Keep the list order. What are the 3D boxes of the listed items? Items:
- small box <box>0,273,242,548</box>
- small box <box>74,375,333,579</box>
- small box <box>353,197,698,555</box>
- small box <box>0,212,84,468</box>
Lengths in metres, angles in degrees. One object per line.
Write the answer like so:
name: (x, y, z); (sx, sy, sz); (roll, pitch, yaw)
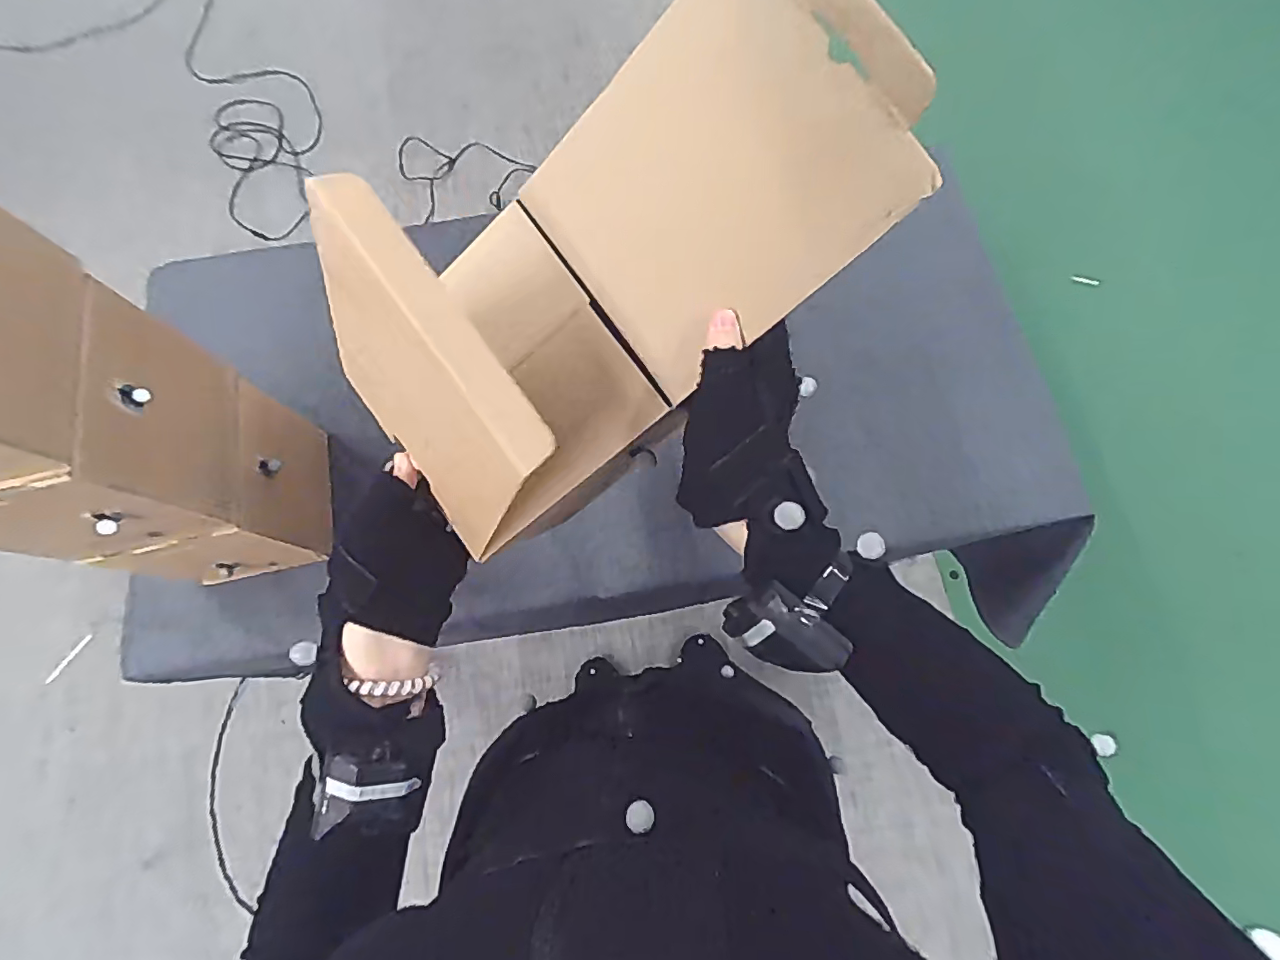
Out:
small box: (-0.488, -0.044, 0.474); (0.168, 0.176, 0.179); (-12, 73, -3)
small box: (-0.485, 0.006, 0.629); (0.168, 0.176, 0.179); (-12, 73, -2)
small box: (-0.068, -0.070, 0.426); (0.179, 0.176, 0.168); (-37, 85, 15)
small box: (-0.493, -0.099, 0.320); (0.168, 0.176, 0.179); (-13, 73, -4)
